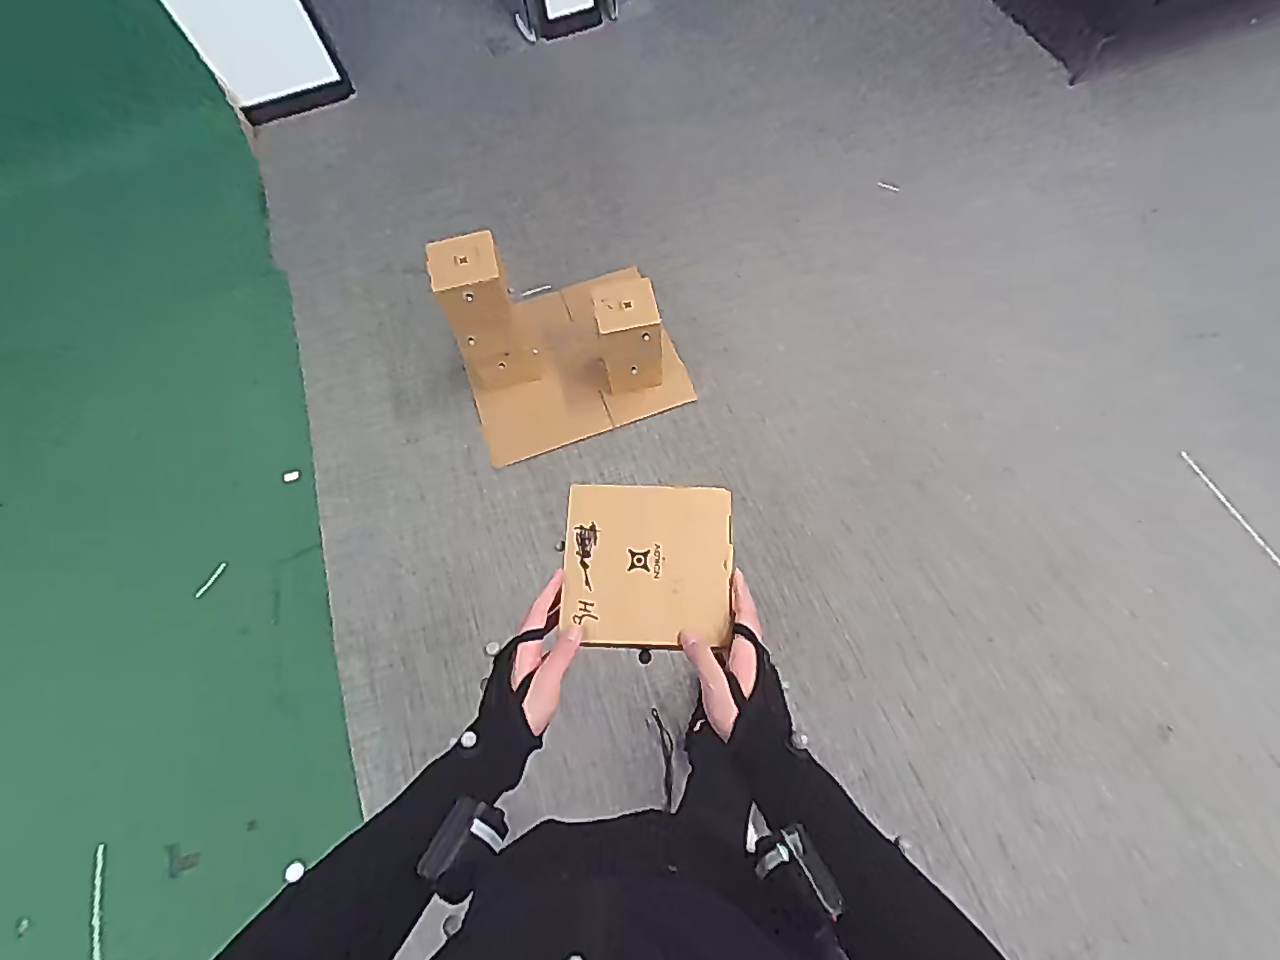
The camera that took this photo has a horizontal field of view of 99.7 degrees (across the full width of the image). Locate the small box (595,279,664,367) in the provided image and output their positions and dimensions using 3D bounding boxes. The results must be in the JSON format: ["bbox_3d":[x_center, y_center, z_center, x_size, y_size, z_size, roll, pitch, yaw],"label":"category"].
[{"bbox_3d":[-0.027,-0.455,1.588,0.179,0.176,0.168,-11,67,0],"label":"small box"}]

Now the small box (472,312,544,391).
[{"bbox_3d":[-0.432,-0.417,1.778,0.179,0.176,0.168,-16,68,-3],"label":"small box"}]

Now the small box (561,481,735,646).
[{"bbox_3d":[0.011,0.106,0.639,0.179,0.176,0.168,2,71,1],"label":"small box"}]

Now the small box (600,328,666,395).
[{"bbox_3d":[-0.018,-0.400,1.744,0.179,0.176,0.168,-15,67,-1],"label":"small box"}]

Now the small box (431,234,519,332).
[{"bbox_3d":[-0.445,-0.527,1.469,0.179,0.176,0.168,-14,68,-2],"label":"small box"}]
